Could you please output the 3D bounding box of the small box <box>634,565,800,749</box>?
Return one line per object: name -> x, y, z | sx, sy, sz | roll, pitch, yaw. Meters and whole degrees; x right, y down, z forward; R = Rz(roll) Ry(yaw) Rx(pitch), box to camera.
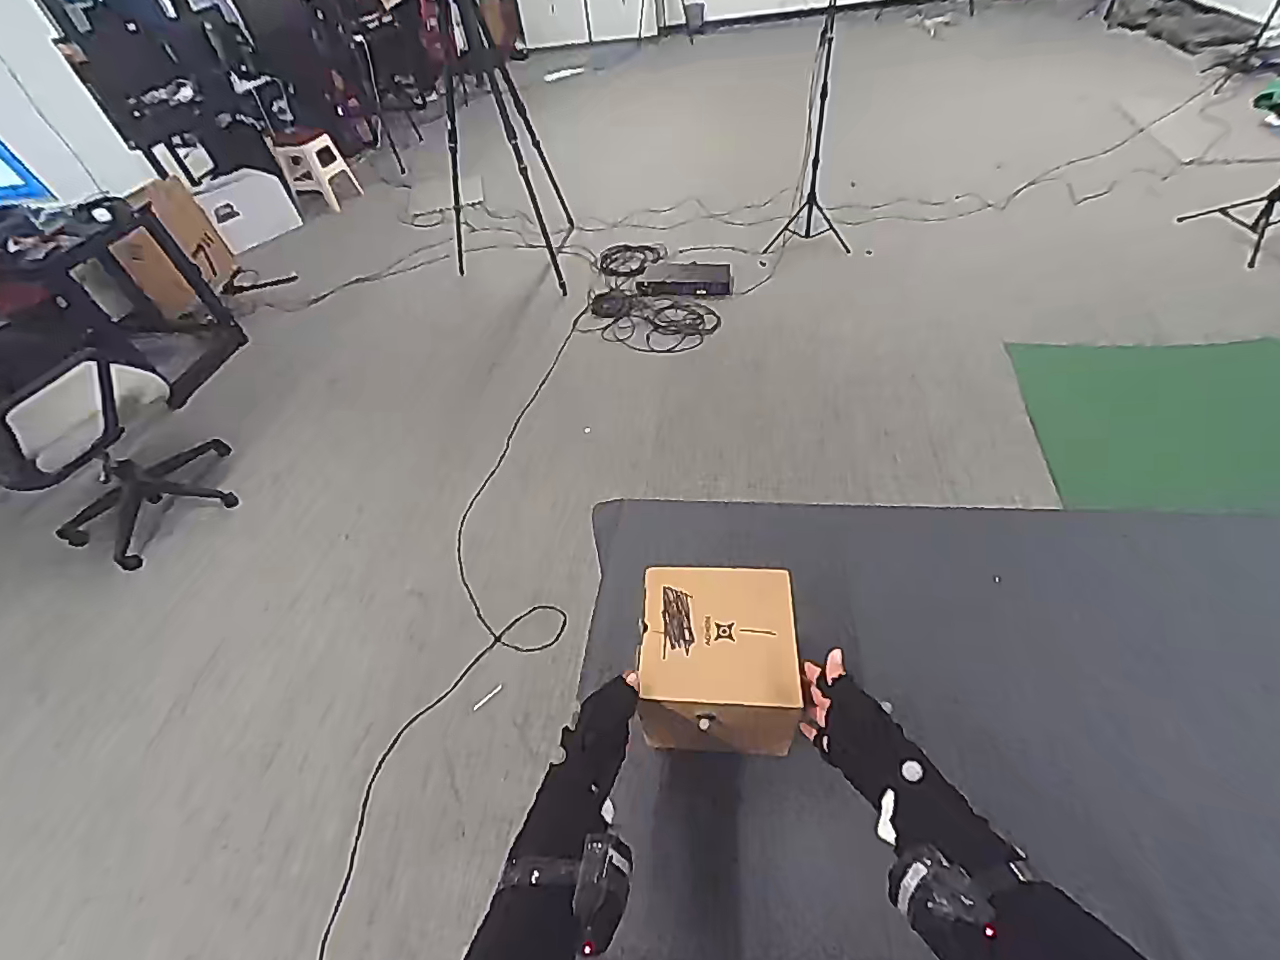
small box -> 0.095, 0.222, 0.673 | 0.179, 0.176, 0.168 | 1, 49, 7
